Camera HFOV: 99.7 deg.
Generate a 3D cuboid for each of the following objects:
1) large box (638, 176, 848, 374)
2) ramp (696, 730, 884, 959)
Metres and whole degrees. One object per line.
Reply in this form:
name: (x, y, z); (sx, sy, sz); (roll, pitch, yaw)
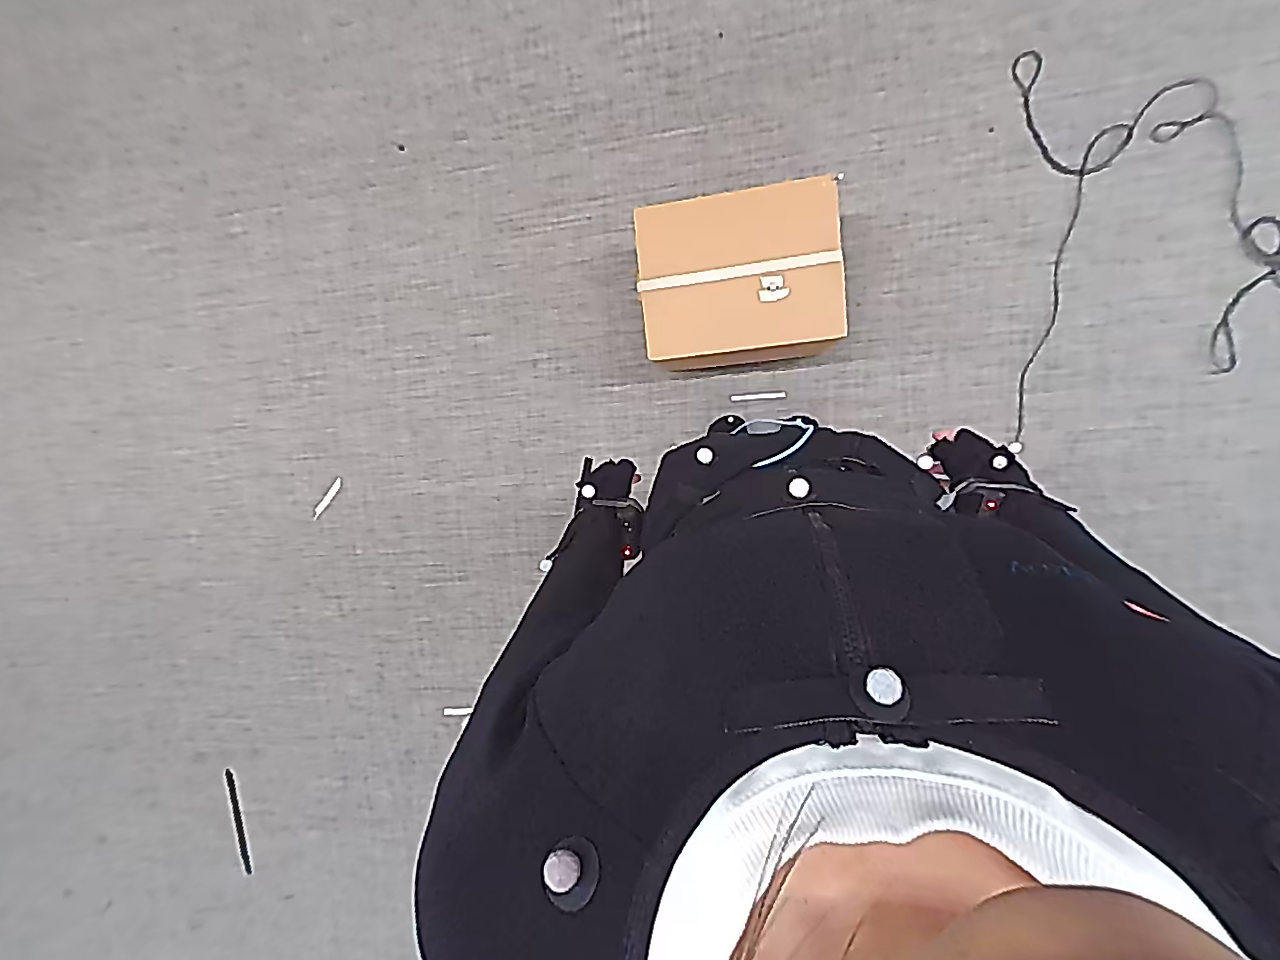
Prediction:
large box: (0.229, -0.436, 1.245); (0.408, 0.320, 0.320); (-5, 96, 10)
ramp: (0.399, 1.206, 1.465); (0.509, 0.206, 0.991); (-2, 95, 12)
